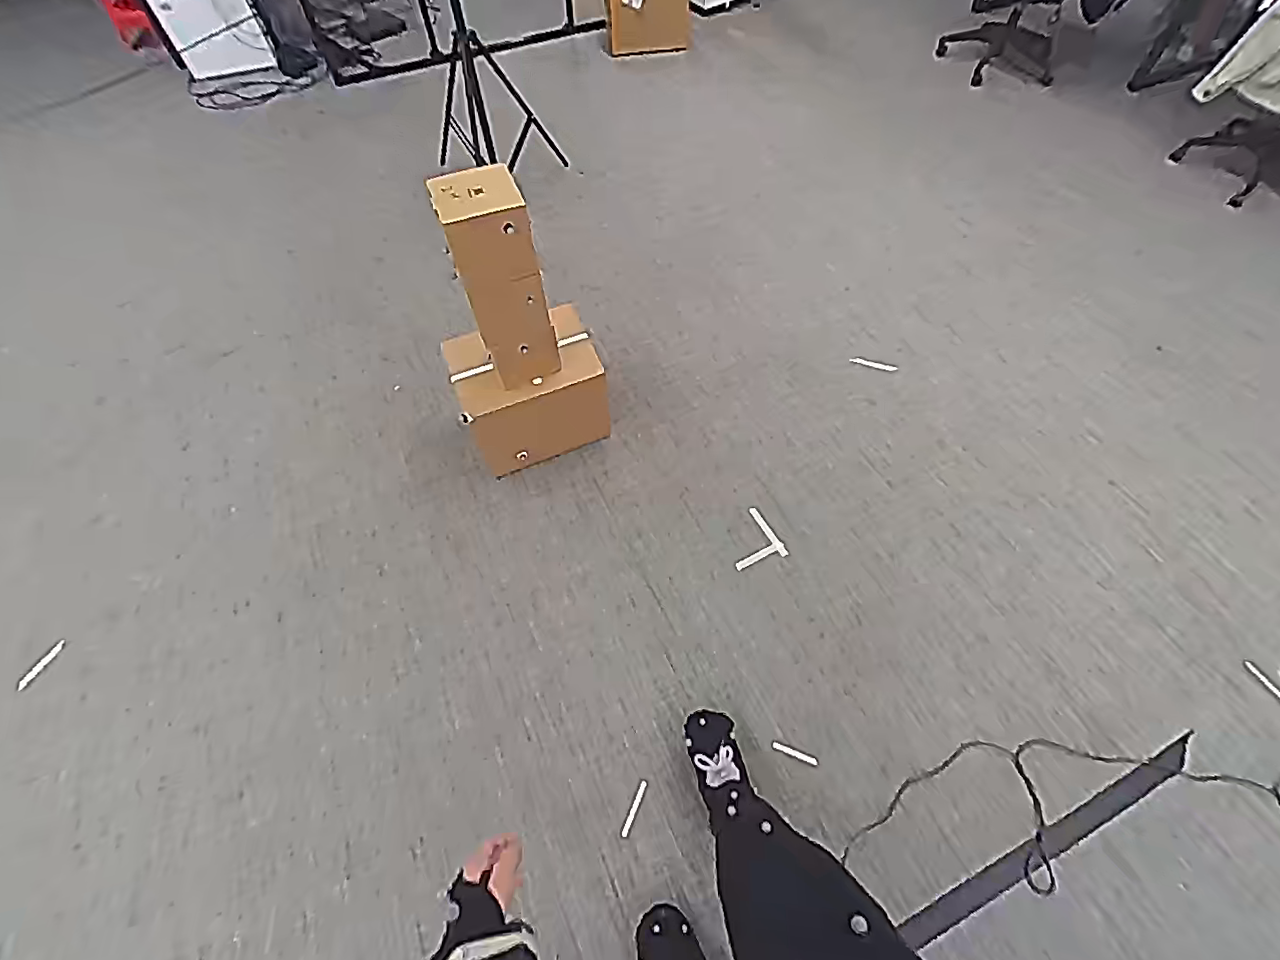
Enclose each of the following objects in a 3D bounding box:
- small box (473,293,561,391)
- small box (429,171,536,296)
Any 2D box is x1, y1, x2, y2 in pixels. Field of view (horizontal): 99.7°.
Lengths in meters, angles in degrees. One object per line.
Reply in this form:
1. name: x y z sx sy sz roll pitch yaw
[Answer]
1. small box: -0.329 -0.369 1.471 0.179 0.176 0.168 -23 63 -13
2. small box: -0.337 -0.538 1.189 0.179 0.176 0.168 -20 61 -10
